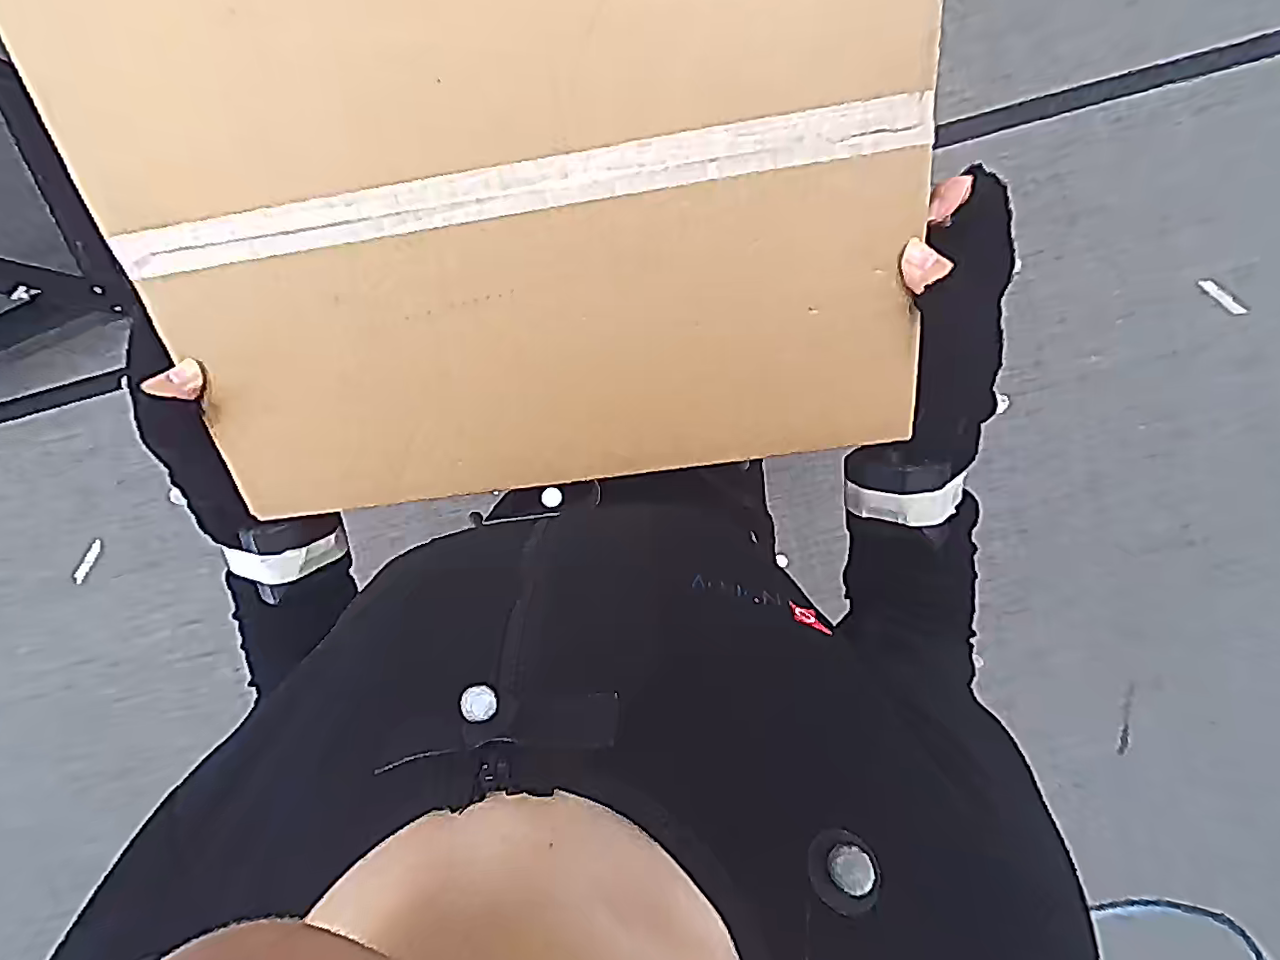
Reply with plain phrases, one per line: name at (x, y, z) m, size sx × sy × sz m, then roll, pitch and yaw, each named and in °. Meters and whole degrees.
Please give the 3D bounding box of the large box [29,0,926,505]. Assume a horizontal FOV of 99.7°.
large box at (-0.063, -0.208, 0.407) m, size 0.408 × 0.320 × 0.320 m, roll -7°, pitch 116°, yaw 4°
